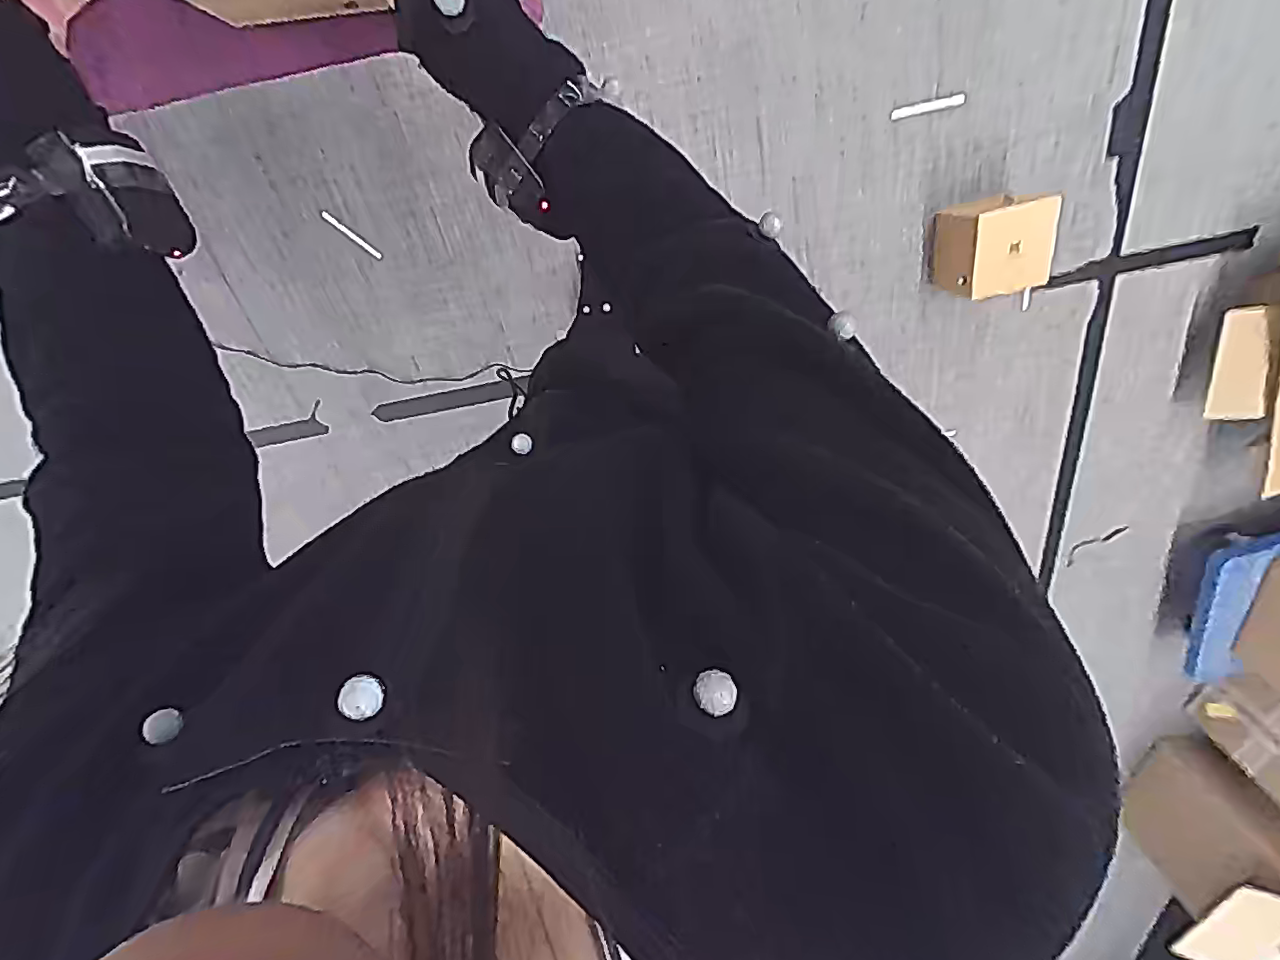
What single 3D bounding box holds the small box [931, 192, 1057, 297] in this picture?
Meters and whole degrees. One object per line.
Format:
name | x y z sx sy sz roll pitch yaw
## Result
small box | 0.769 -0.525 1.195 0.168 0.176 0.179 -13 121 4
